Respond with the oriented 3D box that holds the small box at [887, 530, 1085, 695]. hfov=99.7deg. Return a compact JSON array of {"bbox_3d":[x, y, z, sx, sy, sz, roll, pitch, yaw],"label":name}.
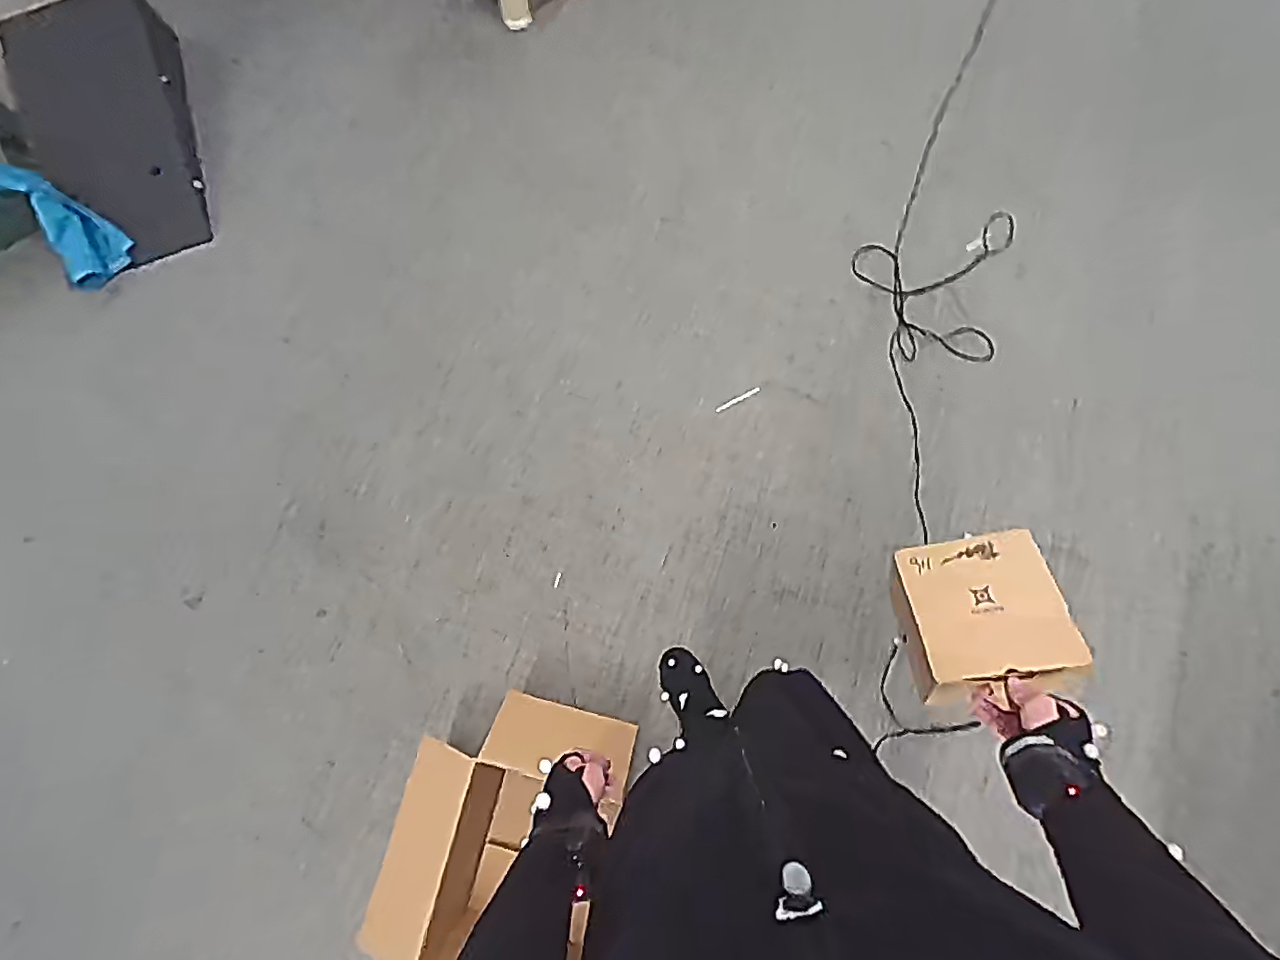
[{"bbox_3d":[0.445,0.189,0.732,0.168,0.176,0.179,-12,59,14],"label":"small box"}]
